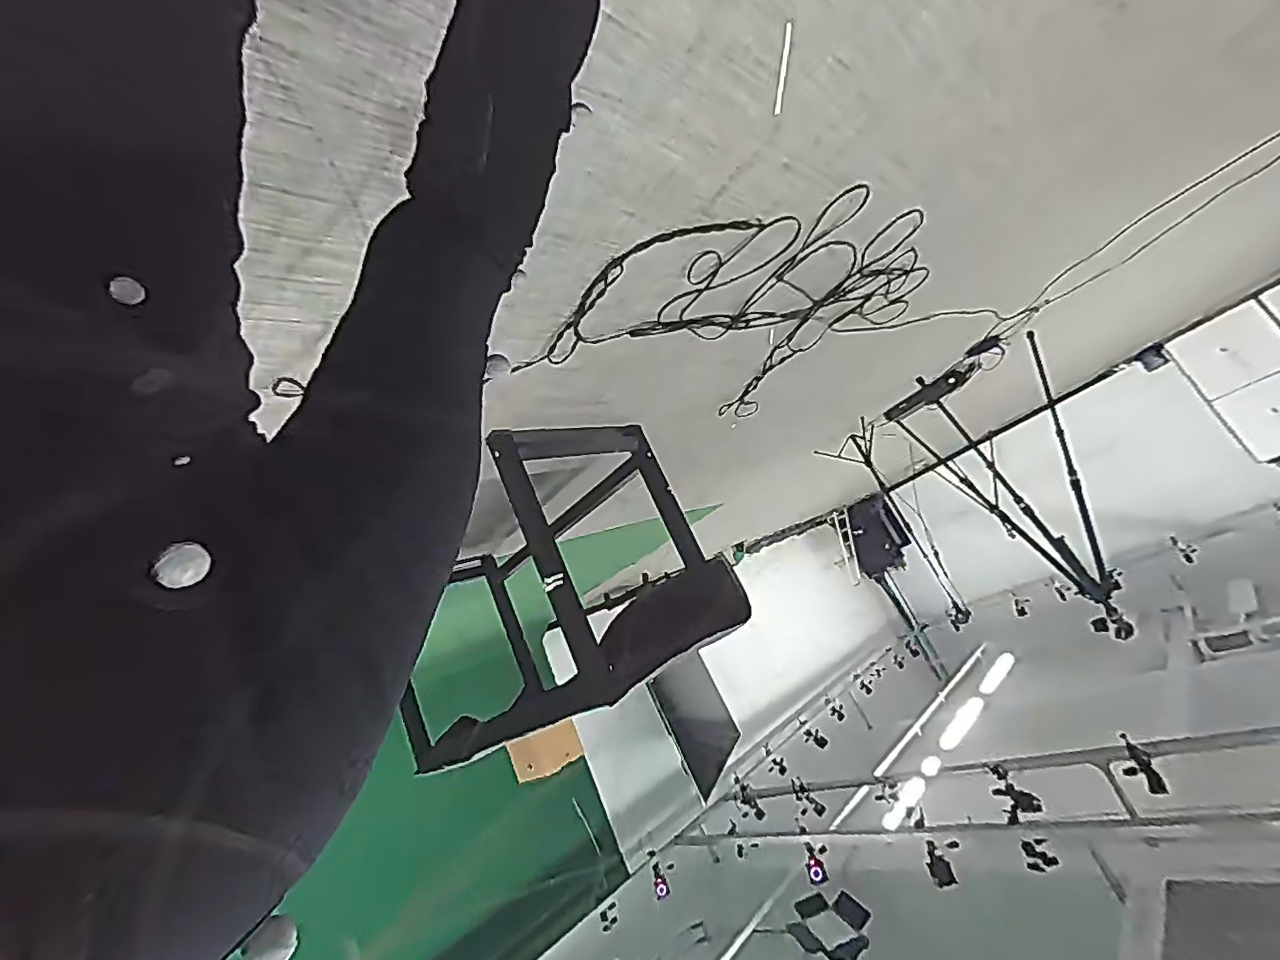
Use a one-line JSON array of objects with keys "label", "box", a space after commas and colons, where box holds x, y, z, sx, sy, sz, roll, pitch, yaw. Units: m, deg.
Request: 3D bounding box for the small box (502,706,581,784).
[{"label": "small box", "box": [-0.335, 0.877, 1.804, 0.168, 0.176, 0.179, -8, 158, -48]}]
